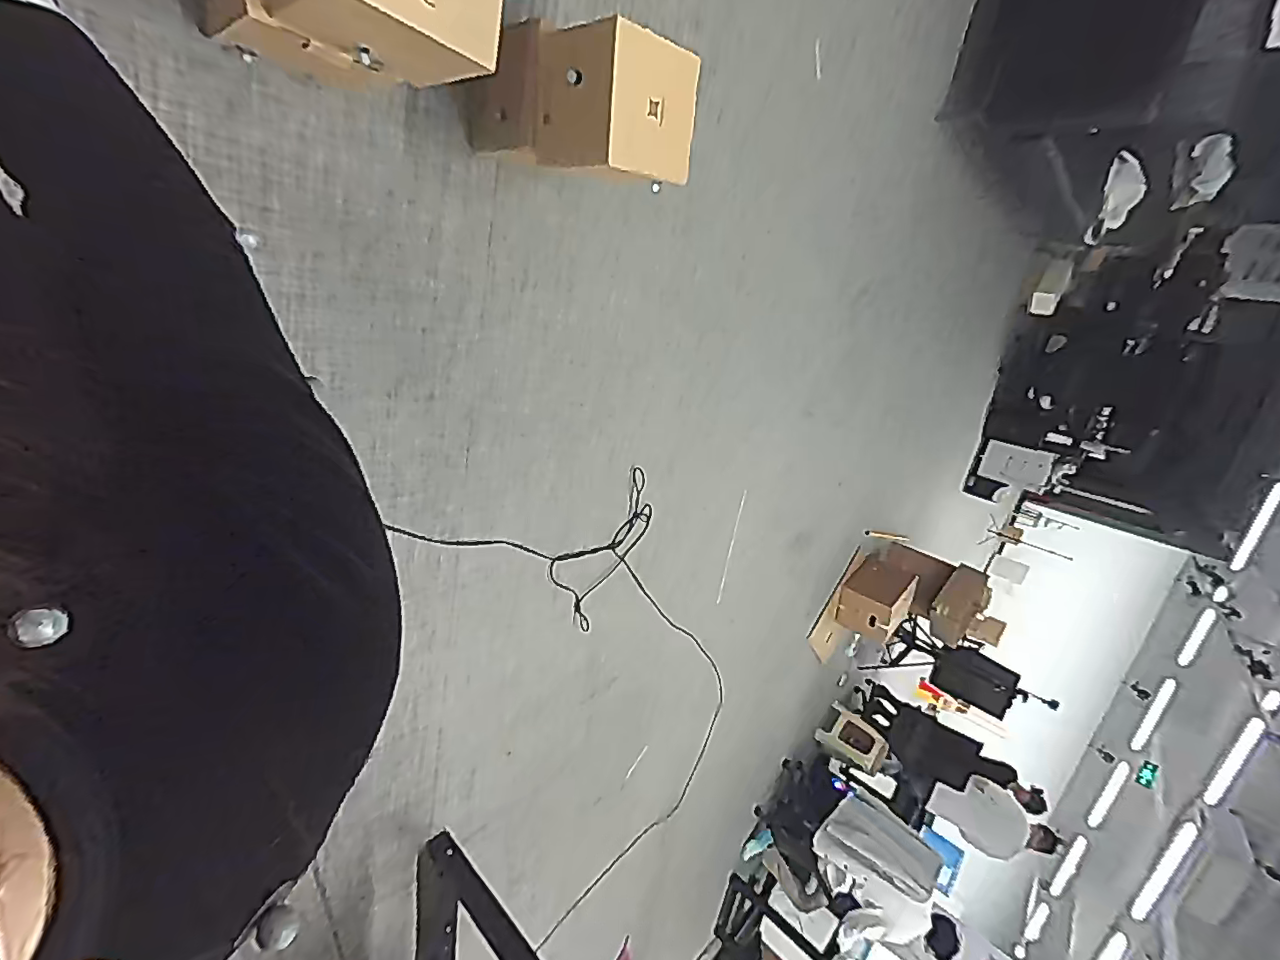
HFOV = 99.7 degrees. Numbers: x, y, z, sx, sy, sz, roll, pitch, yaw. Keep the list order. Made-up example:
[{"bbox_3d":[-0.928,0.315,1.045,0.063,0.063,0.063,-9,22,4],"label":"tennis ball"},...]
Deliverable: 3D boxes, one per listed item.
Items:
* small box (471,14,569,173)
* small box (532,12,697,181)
[{"bbox_3d":[-0.159,-0.616,0.891,0.179,0.176,0.168,-12,120,-47],"label":"small box"},{"bbox_3d":[-0.043,-0.546,0.800,0.179,0.176,0.168,-19,124,-44],"label":"small box"}]
